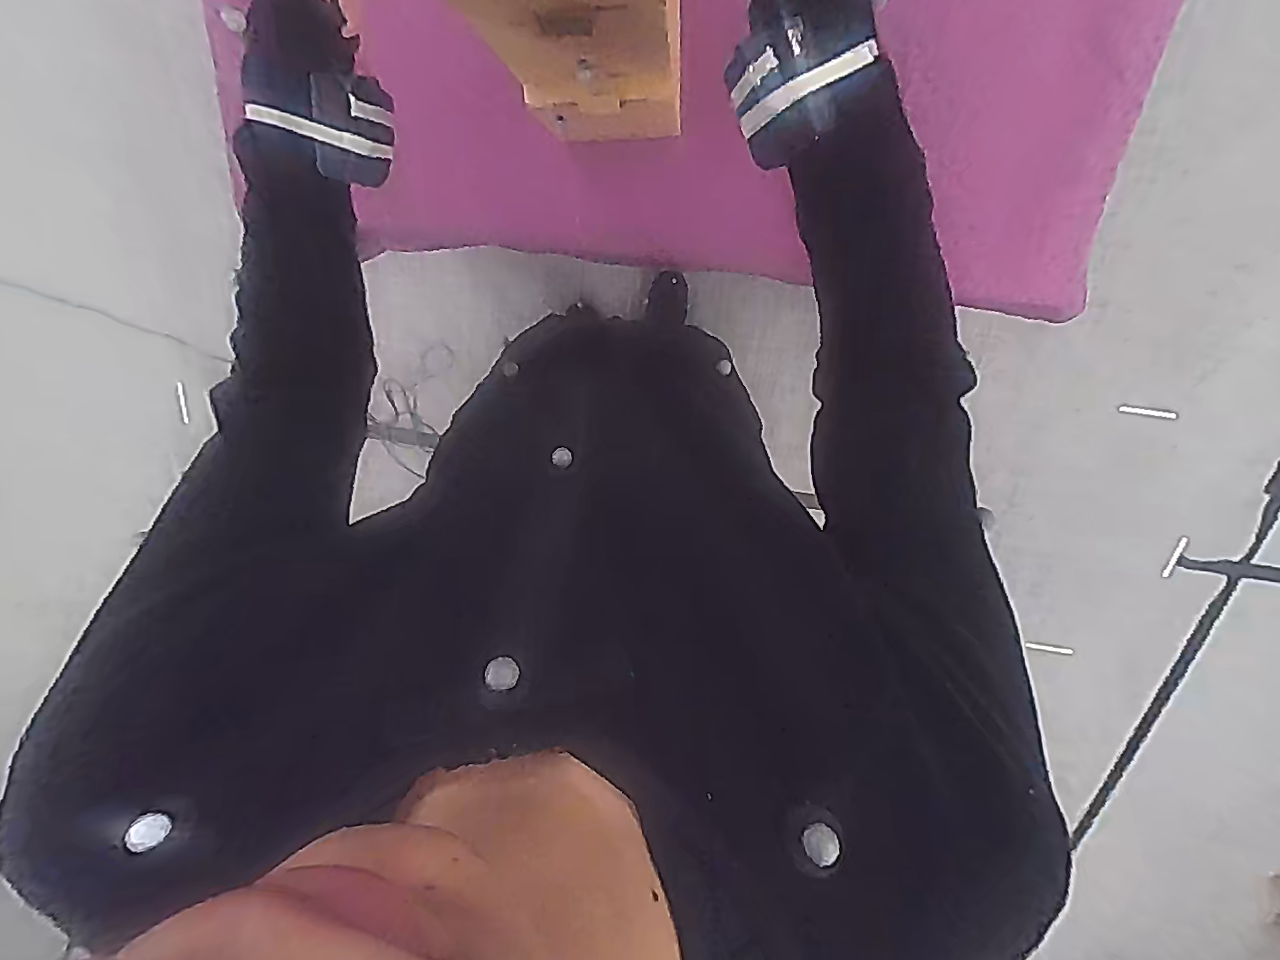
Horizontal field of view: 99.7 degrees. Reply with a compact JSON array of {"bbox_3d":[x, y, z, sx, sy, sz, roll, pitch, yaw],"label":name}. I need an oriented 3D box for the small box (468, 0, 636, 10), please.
[{"bbox_3d":[-0.069,-0.413,0.312,0.168,0.176,0.179,-1,109,6],"label":"small box"}]

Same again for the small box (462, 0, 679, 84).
[{"bbox_3d":[-0.051,-0.472,0.463,0.168,0.176,0.179,2,111,5],"label":"small box"}]
